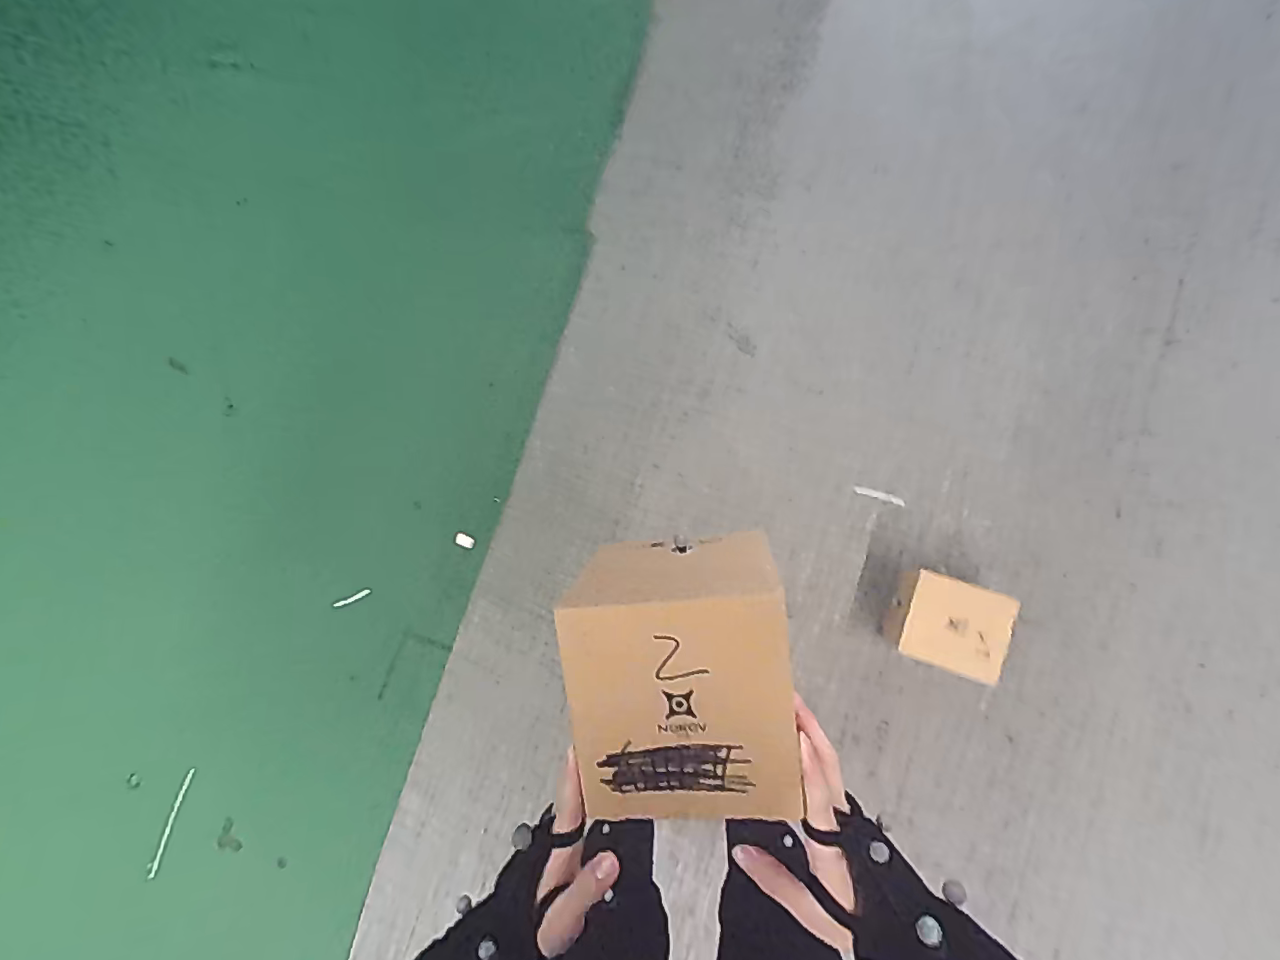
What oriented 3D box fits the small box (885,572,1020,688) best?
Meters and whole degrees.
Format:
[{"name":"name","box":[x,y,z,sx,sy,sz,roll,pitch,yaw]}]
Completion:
[{"name":"small box","box":[0.615,0.292,1.090,0.179,0.176,0.168,18,86,15]}]
